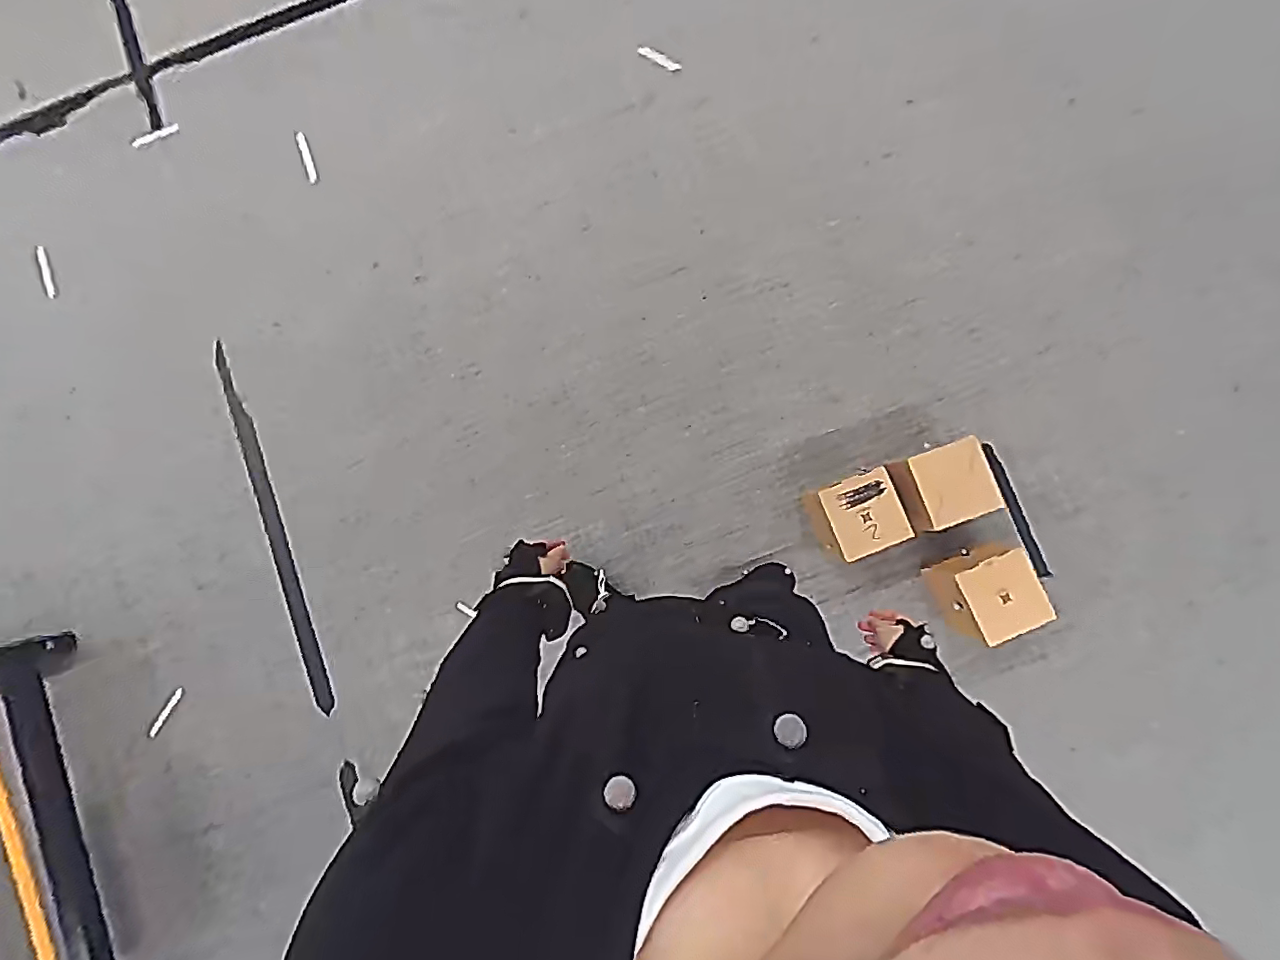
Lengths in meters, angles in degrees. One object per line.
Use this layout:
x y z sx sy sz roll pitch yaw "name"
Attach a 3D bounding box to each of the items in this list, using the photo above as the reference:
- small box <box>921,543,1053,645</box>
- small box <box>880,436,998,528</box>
0.812 0.262 1.283 0.168 0.176 0.179 -24 85 1 "small box"
0.715 0.010 1.298 0.168 0.176 0.179 -19 86 1 "small box"
